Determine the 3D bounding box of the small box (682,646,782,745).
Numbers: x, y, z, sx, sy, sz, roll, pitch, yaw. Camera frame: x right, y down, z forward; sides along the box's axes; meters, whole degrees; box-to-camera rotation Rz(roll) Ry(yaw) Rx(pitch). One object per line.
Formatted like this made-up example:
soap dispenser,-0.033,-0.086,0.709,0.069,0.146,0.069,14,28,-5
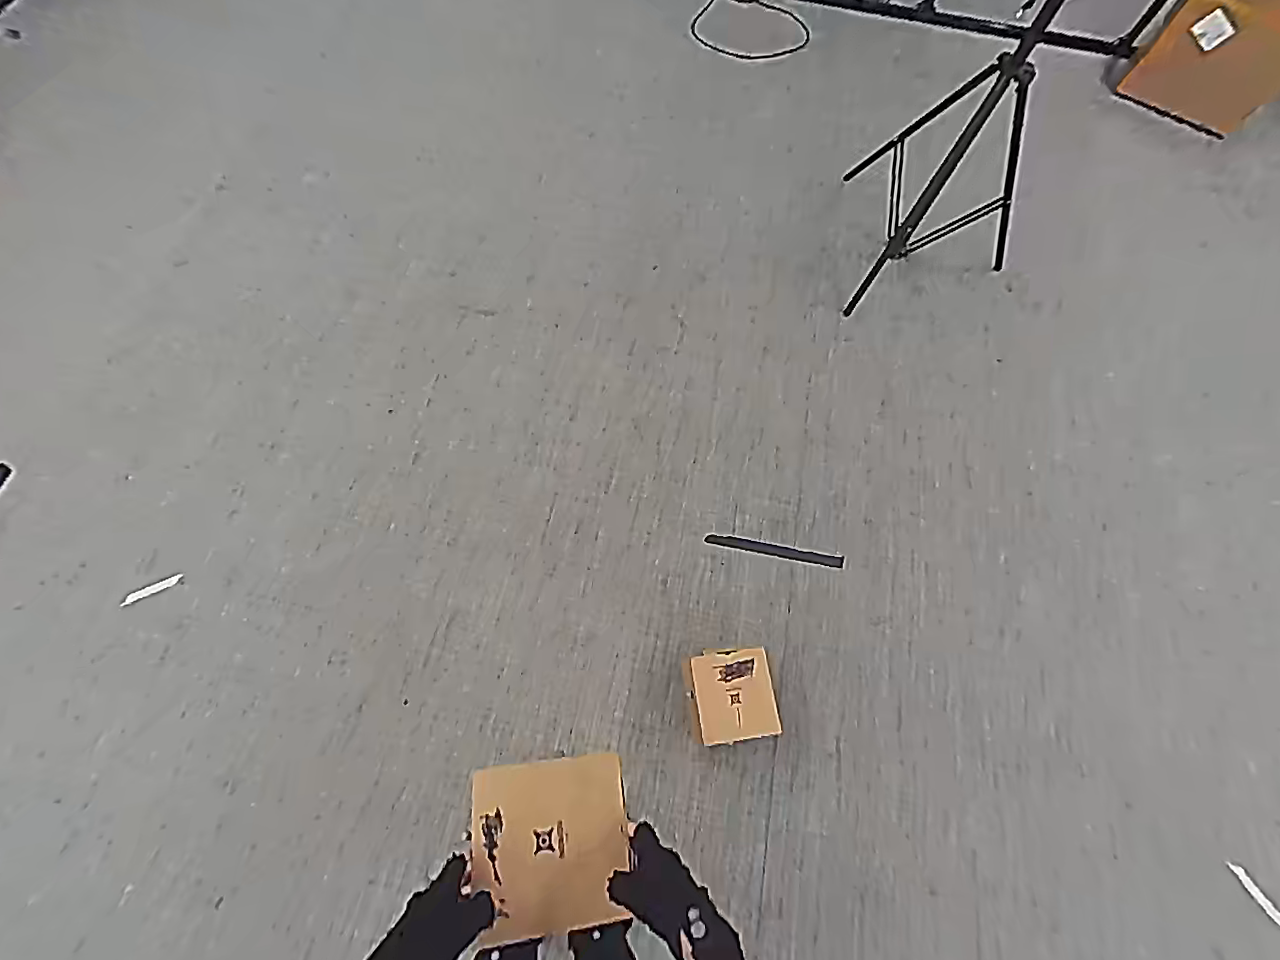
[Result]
small box,0.193,0.474,1.192,0.168,0.176,0.179,-6,69,-5

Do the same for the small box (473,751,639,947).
small box,-0.109,0.439,0.670,0.179,0.176,0.168,-1,60,-13
